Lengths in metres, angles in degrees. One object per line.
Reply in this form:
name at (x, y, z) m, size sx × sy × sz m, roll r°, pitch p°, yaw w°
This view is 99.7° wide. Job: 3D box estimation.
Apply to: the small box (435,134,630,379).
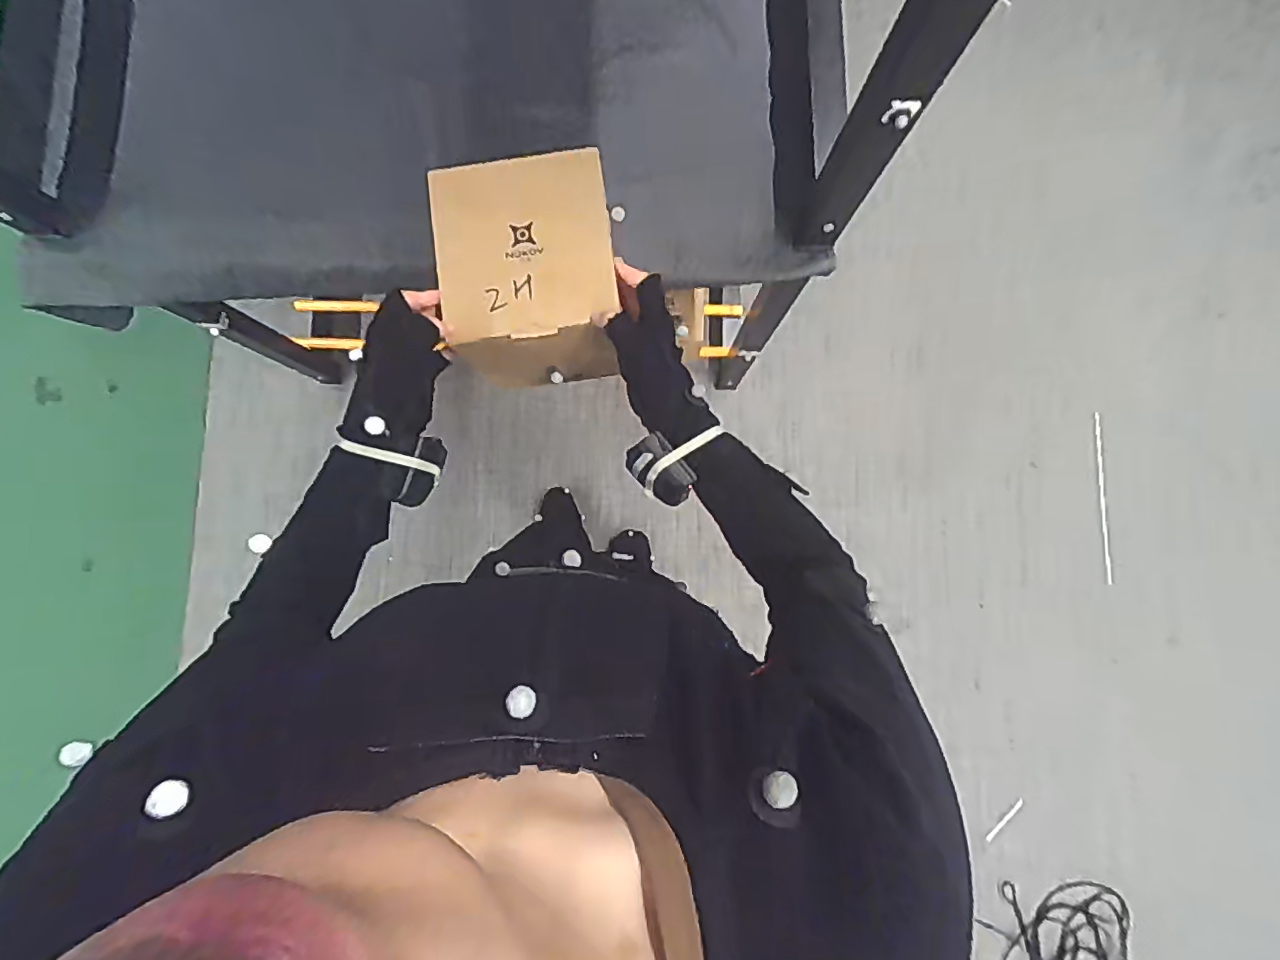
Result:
small box at (-0.102, -0.223, 0.579) m, size 0.168 × 0.176 × 0.179 m, roll -8°, pitch 84°, yaw 0°
